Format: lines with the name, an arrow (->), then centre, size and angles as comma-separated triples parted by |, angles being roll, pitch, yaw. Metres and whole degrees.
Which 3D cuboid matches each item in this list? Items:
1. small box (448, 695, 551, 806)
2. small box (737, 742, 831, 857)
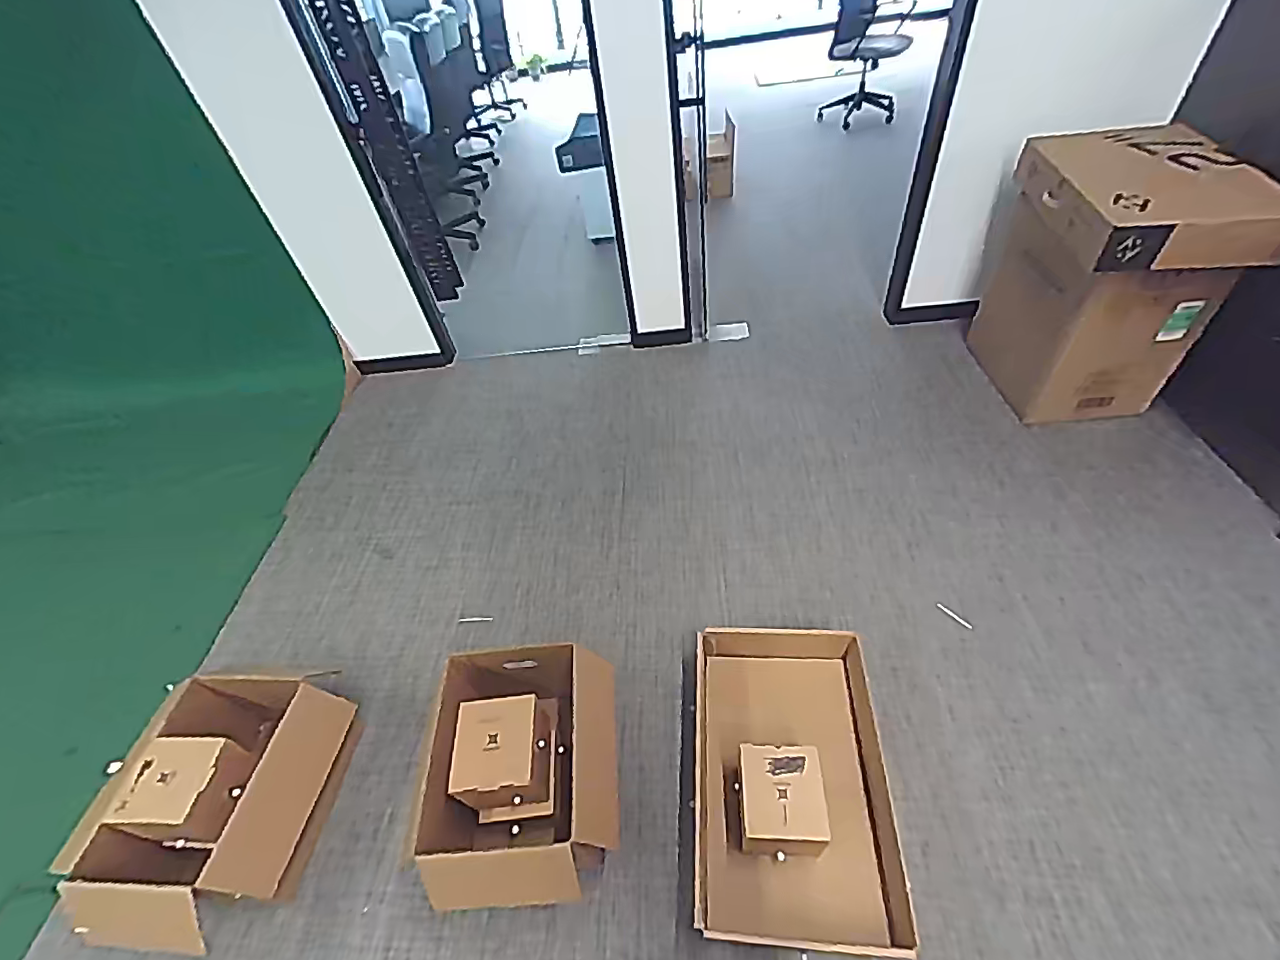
small box -> -0.290, 0.585, 1.161 | 0.168, 0.176, 0.179 | -7, 48, 1
small box -> 0.298, 0.685, 1.159 | 0.168, 0.176, 0.179 | -2, 47, 7
